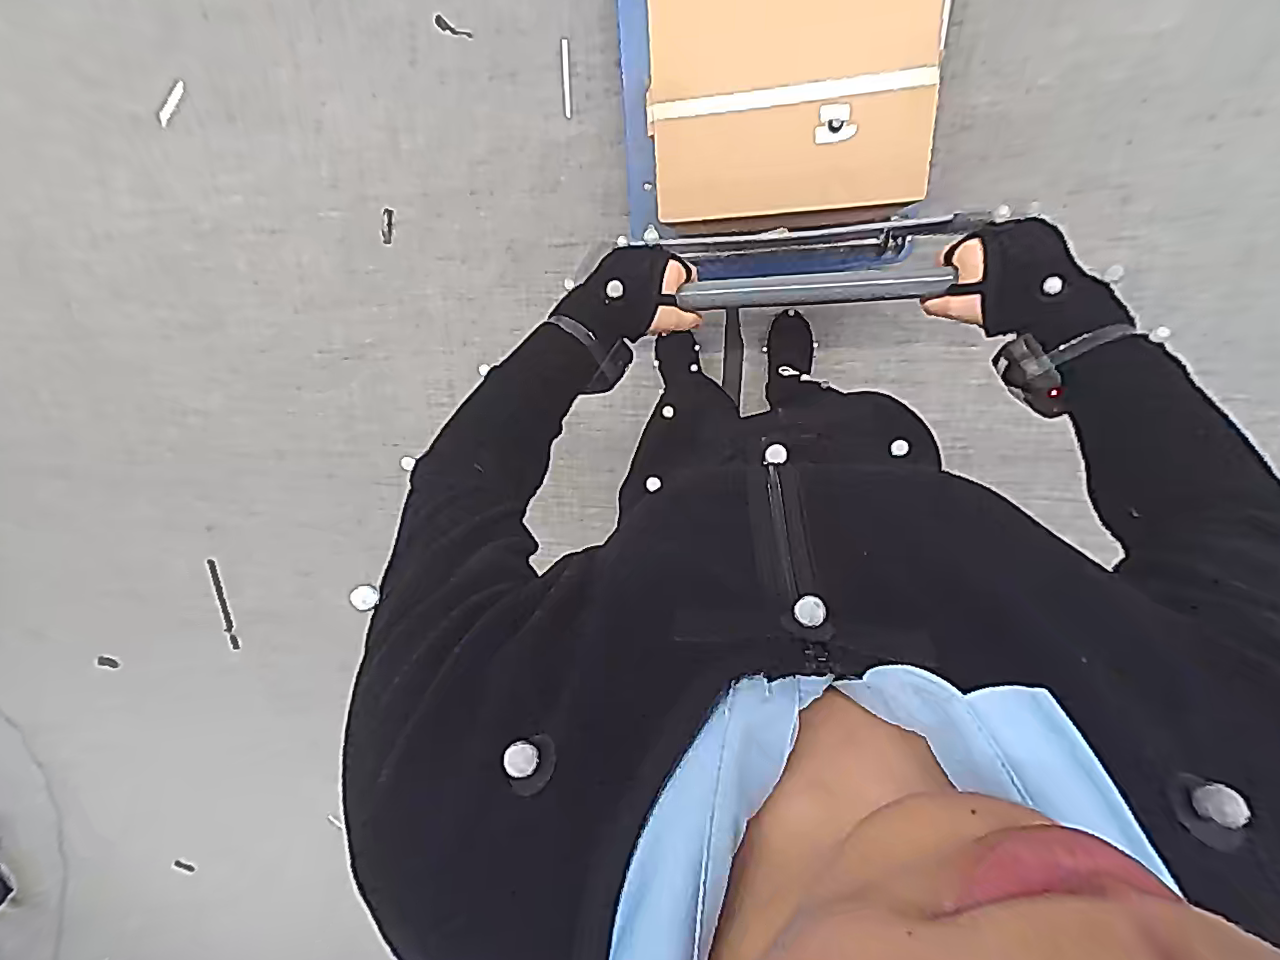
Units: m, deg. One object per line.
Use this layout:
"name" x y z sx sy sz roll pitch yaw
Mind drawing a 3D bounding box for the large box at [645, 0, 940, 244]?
"large box" 0.235 -0.600 0.925 0.408 0.320 0.320 -1 111 10
